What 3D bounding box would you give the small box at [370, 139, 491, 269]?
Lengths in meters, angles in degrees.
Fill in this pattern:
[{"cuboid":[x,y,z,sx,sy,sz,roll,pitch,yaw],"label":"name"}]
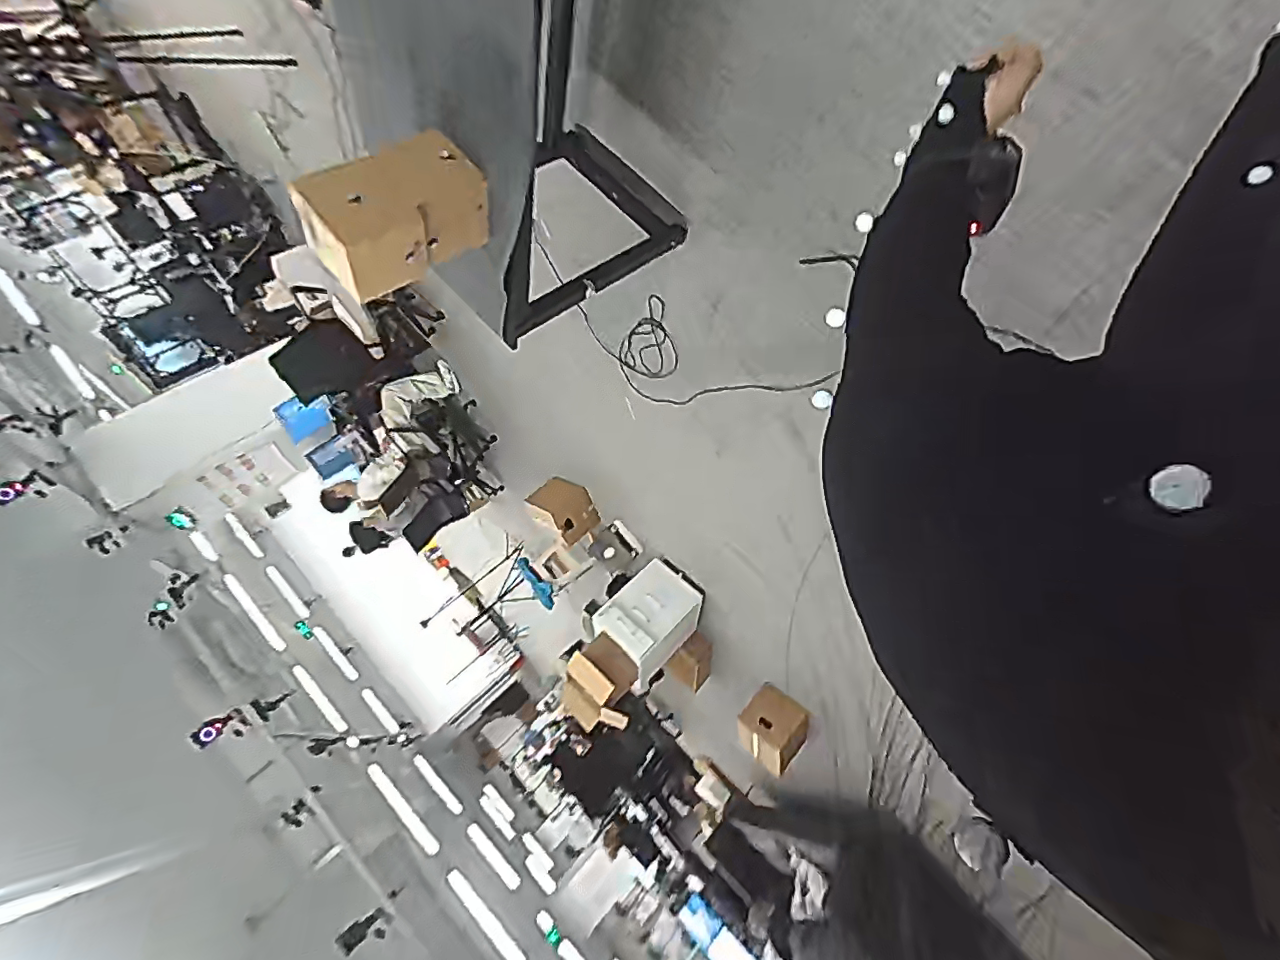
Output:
[{"cuboid":[-0.442,-0.599,1.166,0.179,0.176,0.168,47,154,10],"label":"small box"}]
